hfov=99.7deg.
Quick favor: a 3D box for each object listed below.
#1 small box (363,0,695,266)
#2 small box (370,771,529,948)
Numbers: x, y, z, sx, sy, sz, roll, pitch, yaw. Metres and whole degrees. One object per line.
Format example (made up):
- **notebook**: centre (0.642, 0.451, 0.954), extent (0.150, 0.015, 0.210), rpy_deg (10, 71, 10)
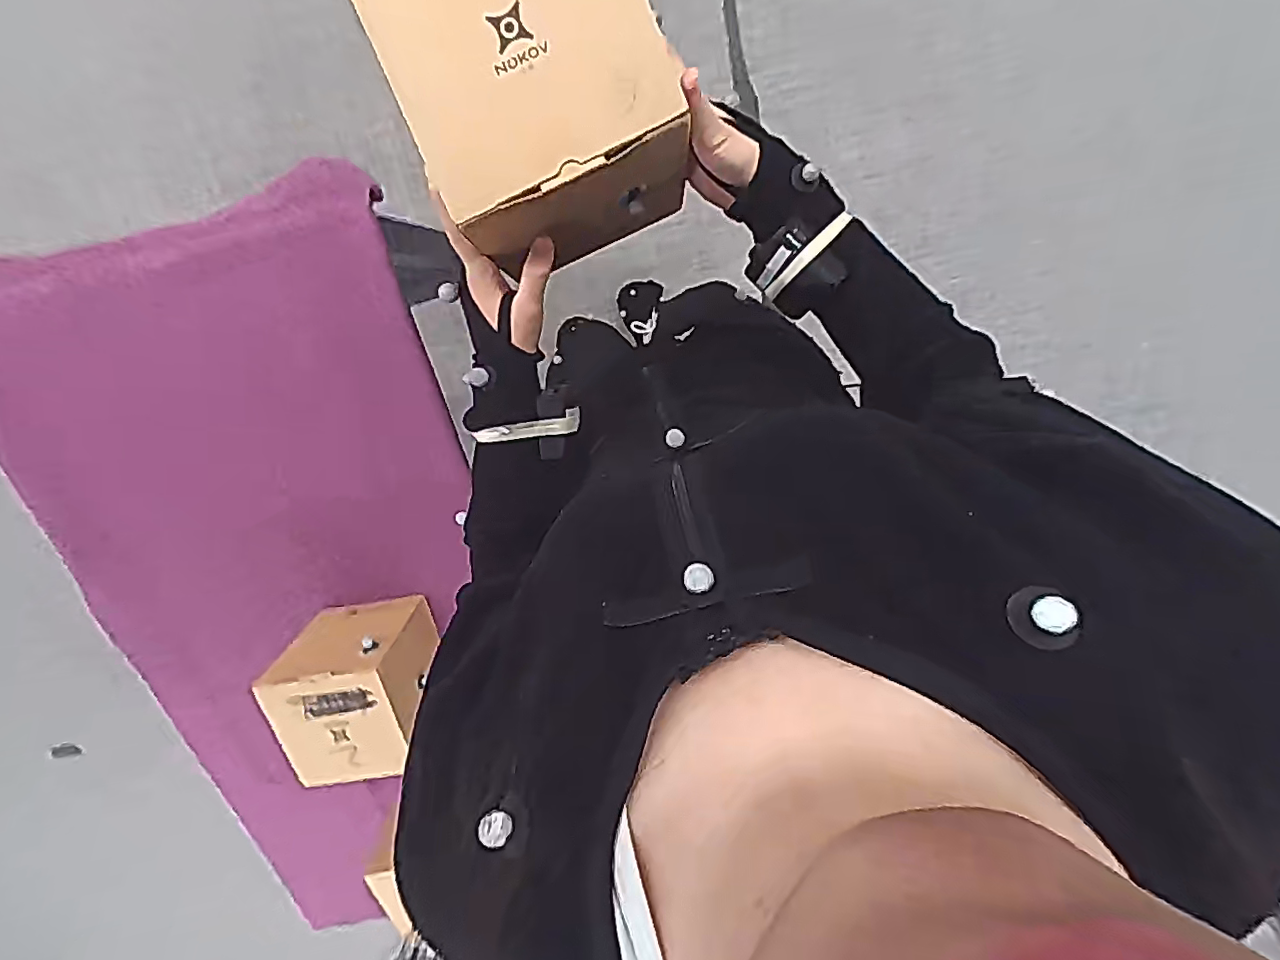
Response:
- **small box**: centre (-0.069, -0.281, 0.404), extent (0.168, 0.176, 0.179), rpy_deg (-23, 96, 4)
- **small box**: centre (-0.300, 0.610, 0.890), extent (0.168, 0.176, 0.179), rpy_deg (-15, 110, 6)
